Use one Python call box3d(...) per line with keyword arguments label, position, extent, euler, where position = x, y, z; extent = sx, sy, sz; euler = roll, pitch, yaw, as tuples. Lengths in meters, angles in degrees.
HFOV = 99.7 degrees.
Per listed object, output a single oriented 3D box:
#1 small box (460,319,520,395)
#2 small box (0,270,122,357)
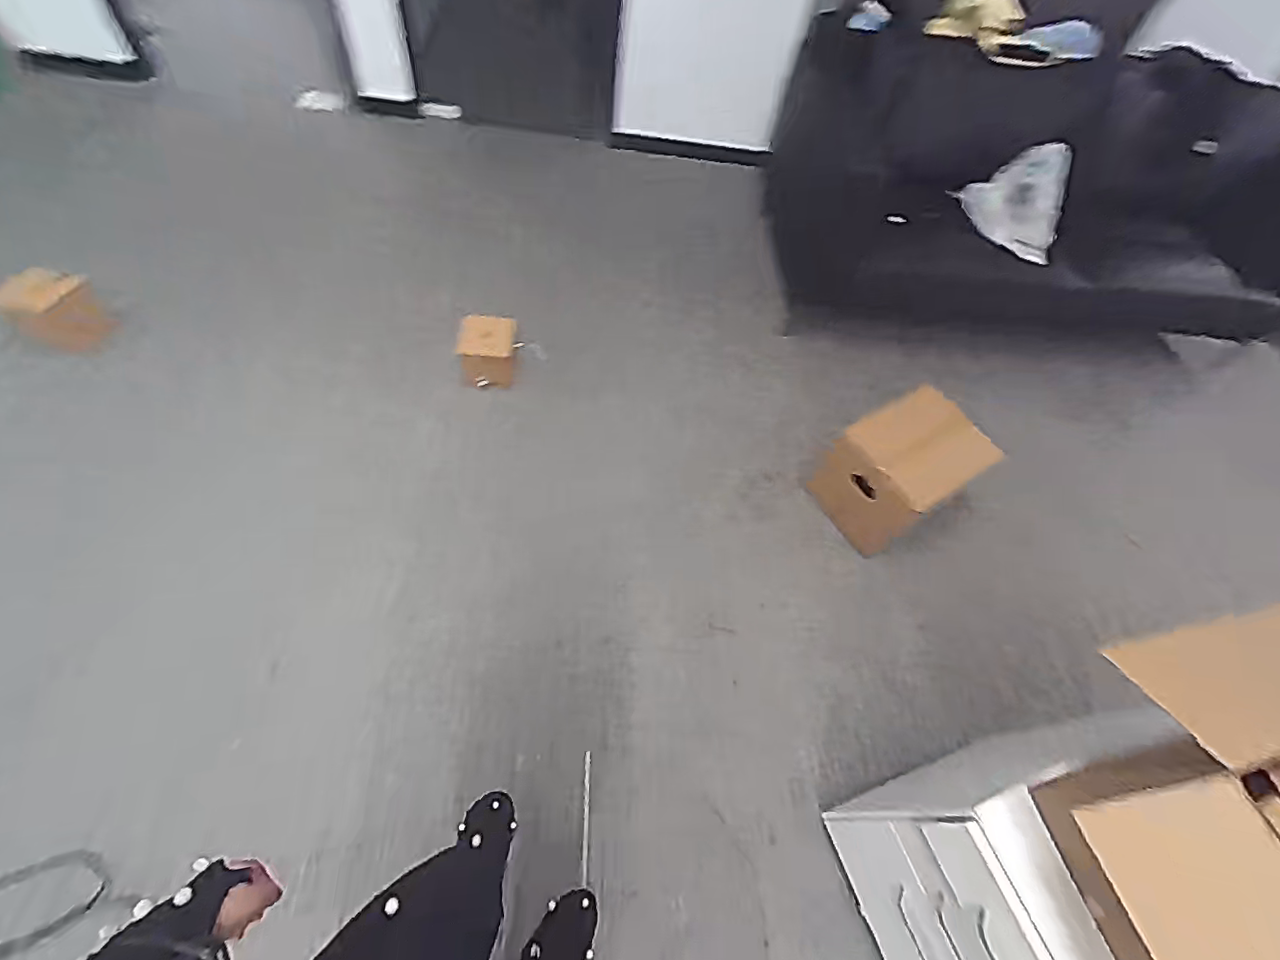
box3d(label="small box", position=(-0.500, -0.415, 1.831), extent=(0.168, 0.176, 0.179), euler=(3, 59, -6))
box3d(label="small box", position=(-1.770, -0.507, 1.661), extent=(0.168, 0.176, 0.179), euler=(14, 57, -1))
